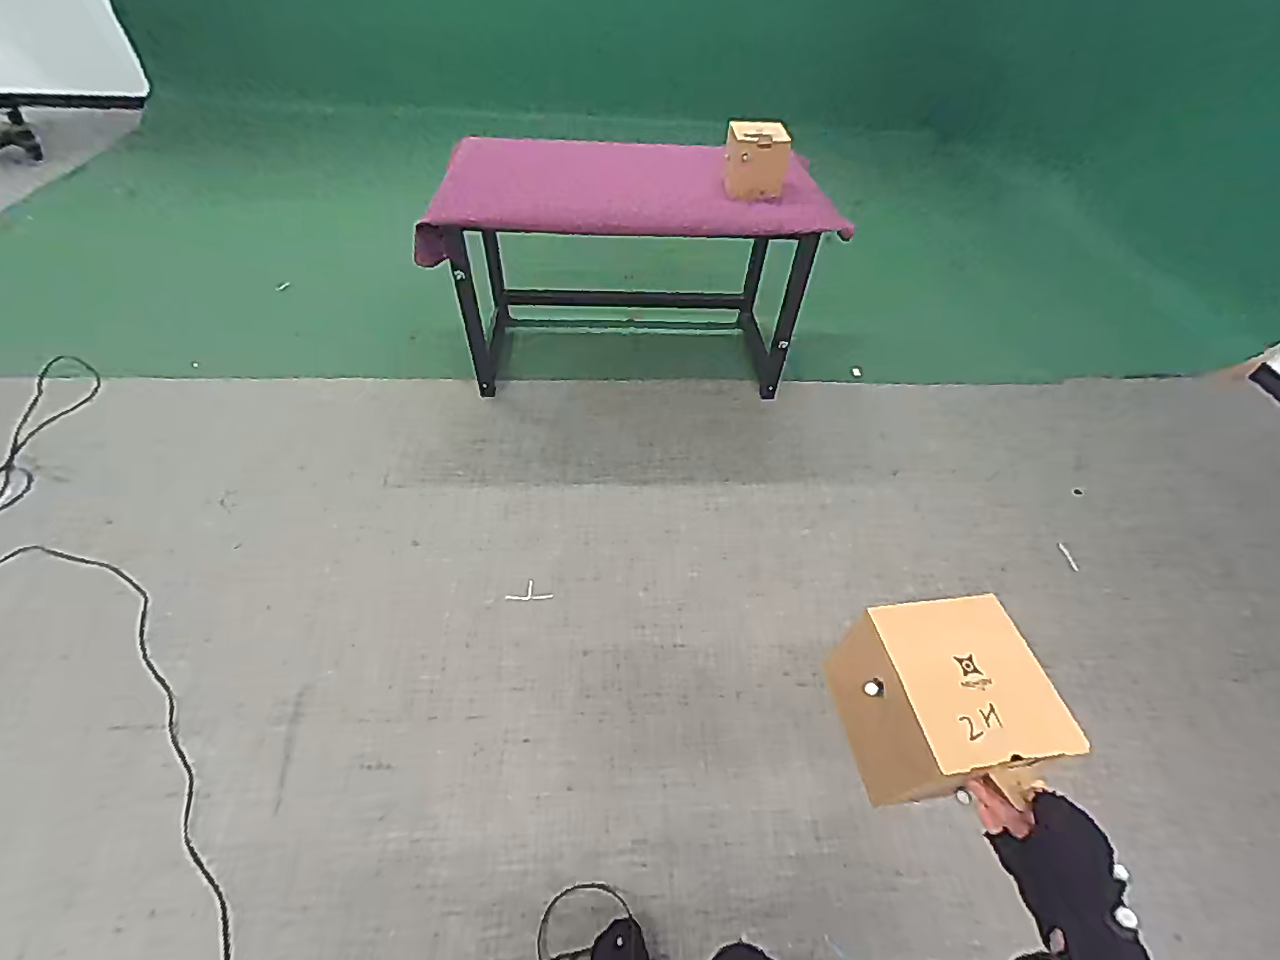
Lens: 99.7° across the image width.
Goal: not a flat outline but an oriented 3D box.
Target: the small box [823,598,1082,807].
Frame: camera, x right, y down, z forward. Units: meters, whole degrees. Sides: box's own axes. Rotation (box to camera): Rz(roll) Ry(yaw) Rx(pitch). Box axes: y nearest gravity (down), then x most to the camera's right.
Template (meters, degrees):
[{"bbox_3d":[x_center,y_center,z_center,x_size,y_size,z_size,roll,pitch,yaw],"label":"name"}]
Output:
[{"bbox_3d":[0.340,0.261,0.635,0.168,0.176,0.179,-4,51,-8],"label":"small box"}]
